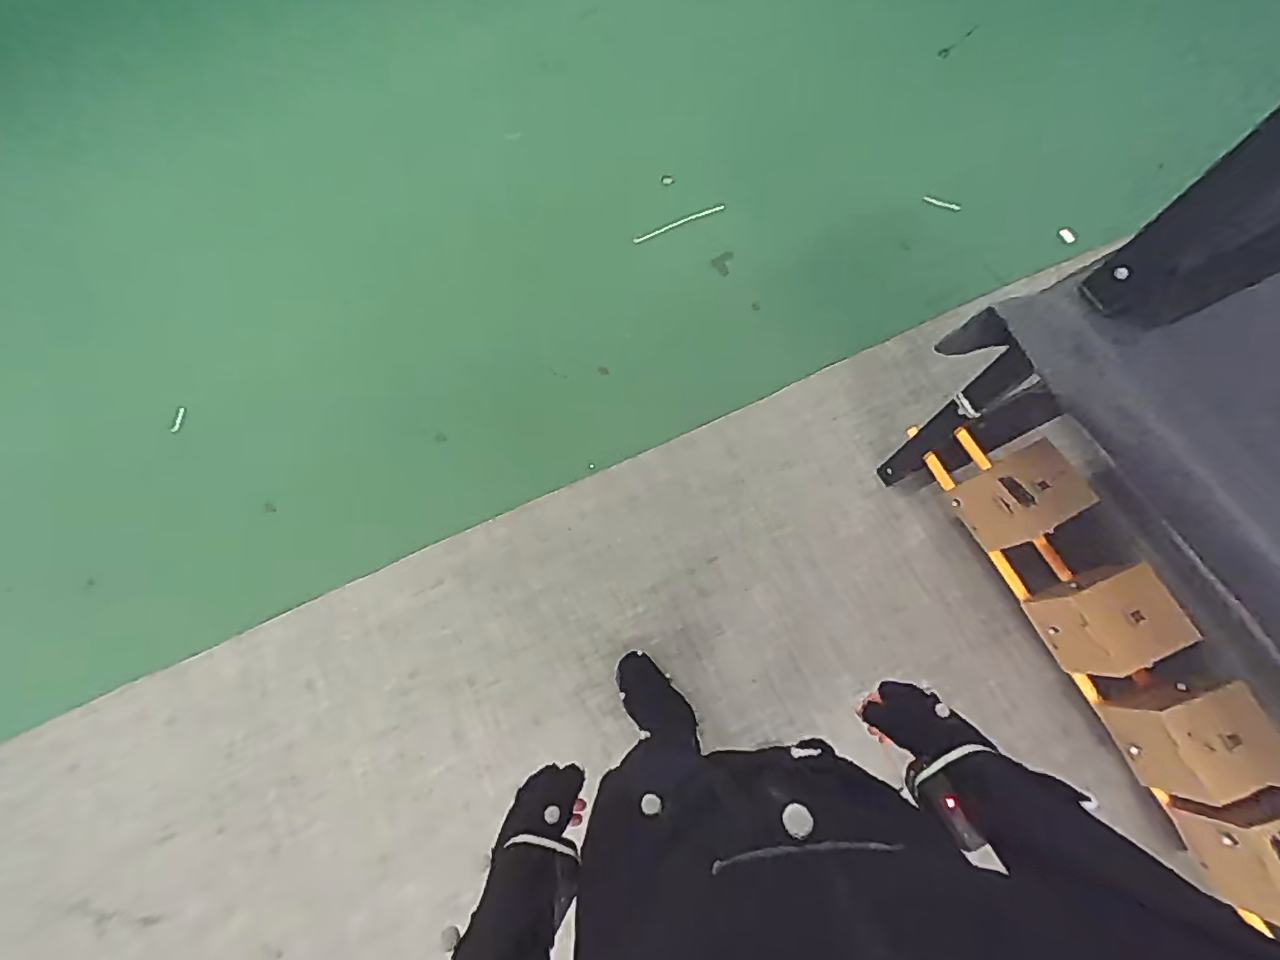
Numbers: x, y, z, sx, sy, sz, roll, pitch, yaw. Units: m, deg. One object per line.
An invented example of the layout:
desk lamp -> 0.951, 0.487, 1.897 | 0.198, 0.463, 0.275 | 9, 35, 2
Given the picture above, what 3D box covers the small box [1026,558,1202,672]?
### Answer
small box -> 0.962, 0.277, 1.118 | 0.179, 0.176, 0.168 | -24, 73, -2
